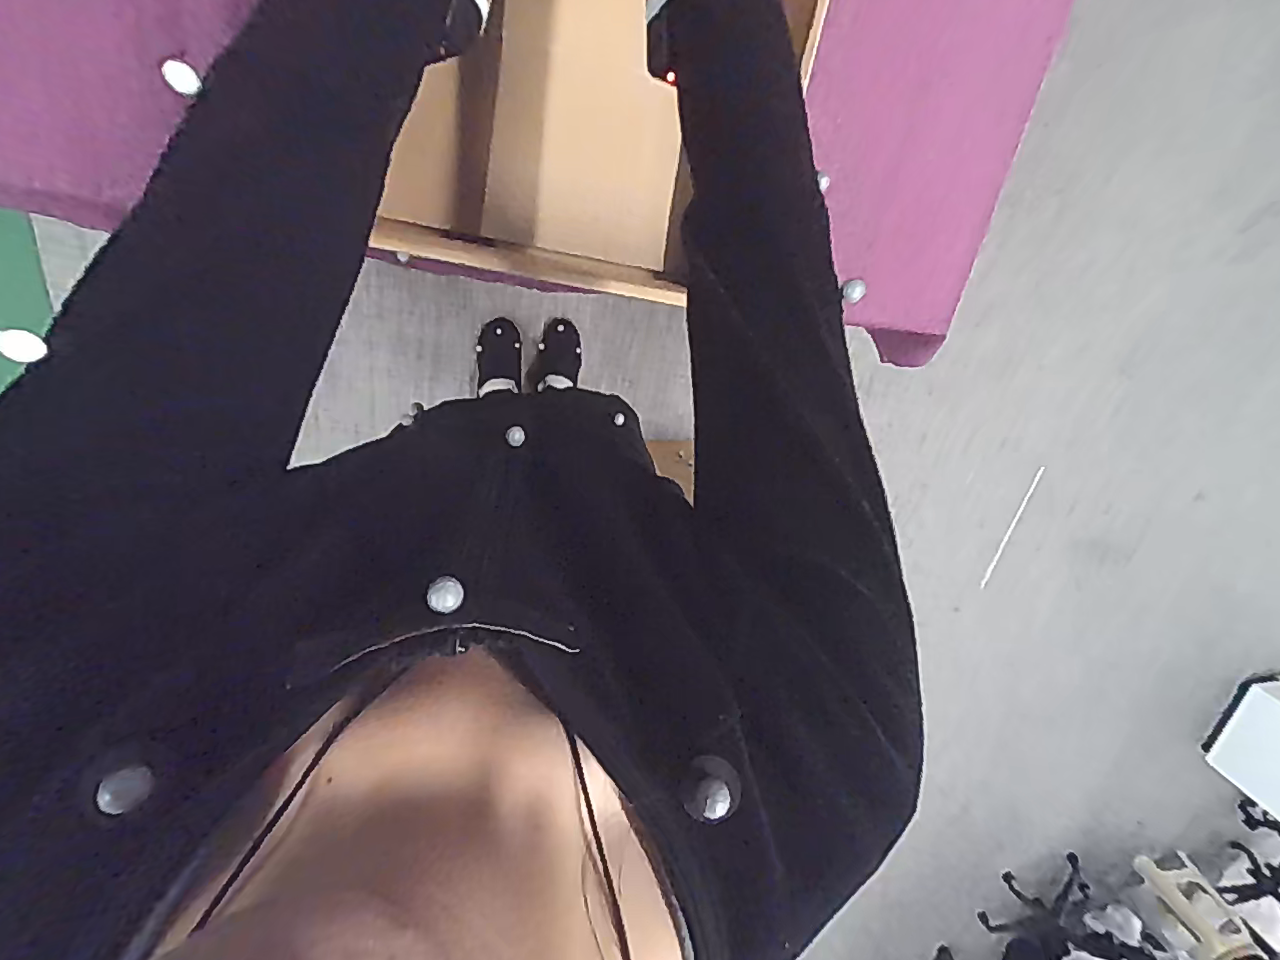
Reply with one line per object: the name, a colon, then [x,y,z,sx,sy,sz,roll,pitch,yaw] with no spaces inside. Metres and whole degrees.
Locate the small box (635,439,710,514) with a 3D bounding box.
small box: [0.083,-0.012,1.530,0.179,0.176,0.168,0,114,-10]
